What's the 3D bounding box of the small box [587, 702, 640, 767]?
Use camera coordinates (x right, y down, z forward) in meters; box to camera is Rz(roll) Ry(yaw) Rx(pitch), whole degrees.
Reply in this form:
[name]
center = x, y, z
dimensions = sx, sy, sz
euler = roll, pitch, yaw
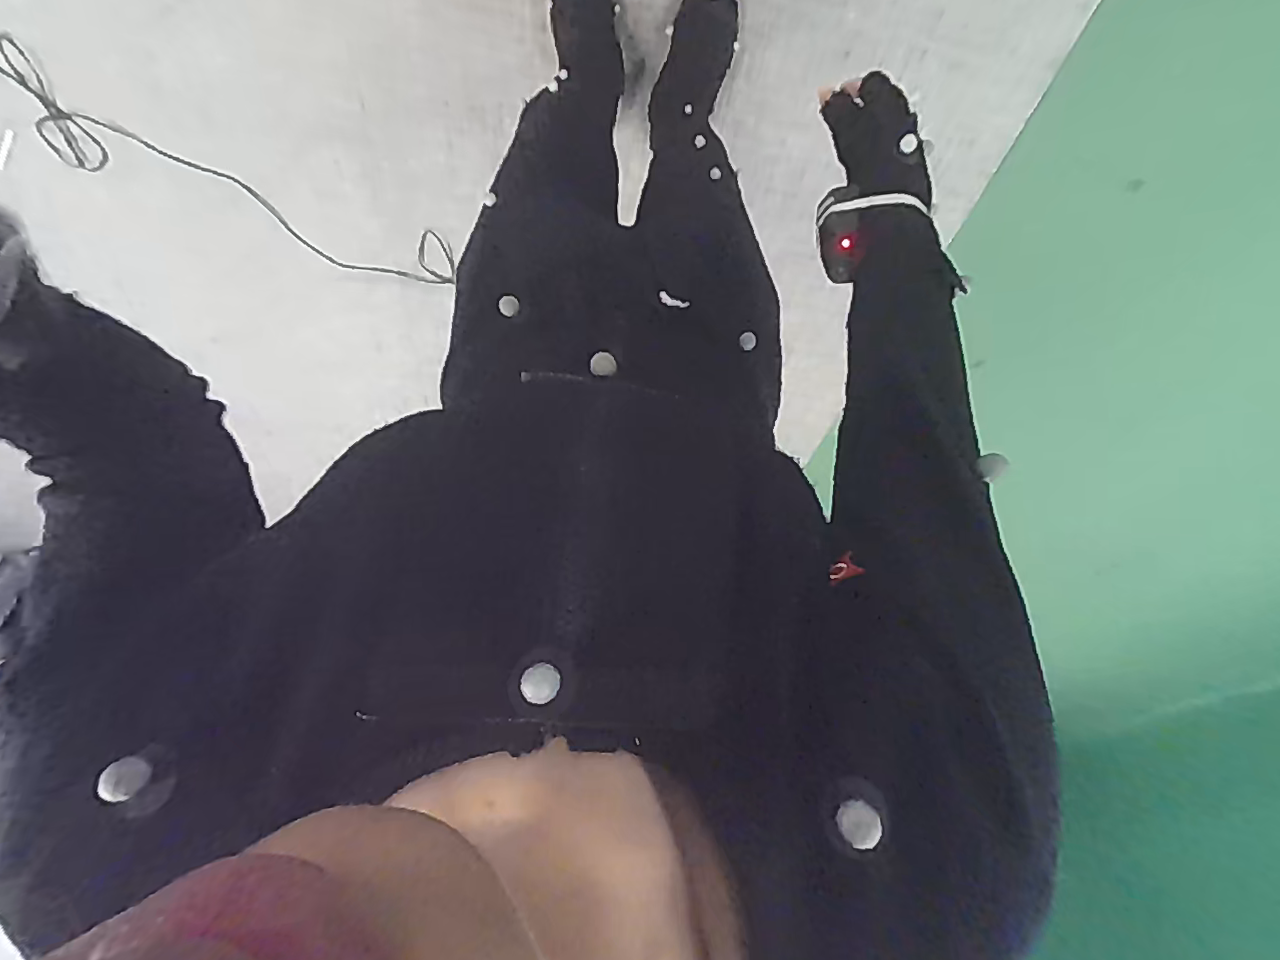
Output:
[small box]
center = -0.092, 0.891, 1.891
dimensions = 0.168, 0.176, 0.179
euler = 8, 143, -2
